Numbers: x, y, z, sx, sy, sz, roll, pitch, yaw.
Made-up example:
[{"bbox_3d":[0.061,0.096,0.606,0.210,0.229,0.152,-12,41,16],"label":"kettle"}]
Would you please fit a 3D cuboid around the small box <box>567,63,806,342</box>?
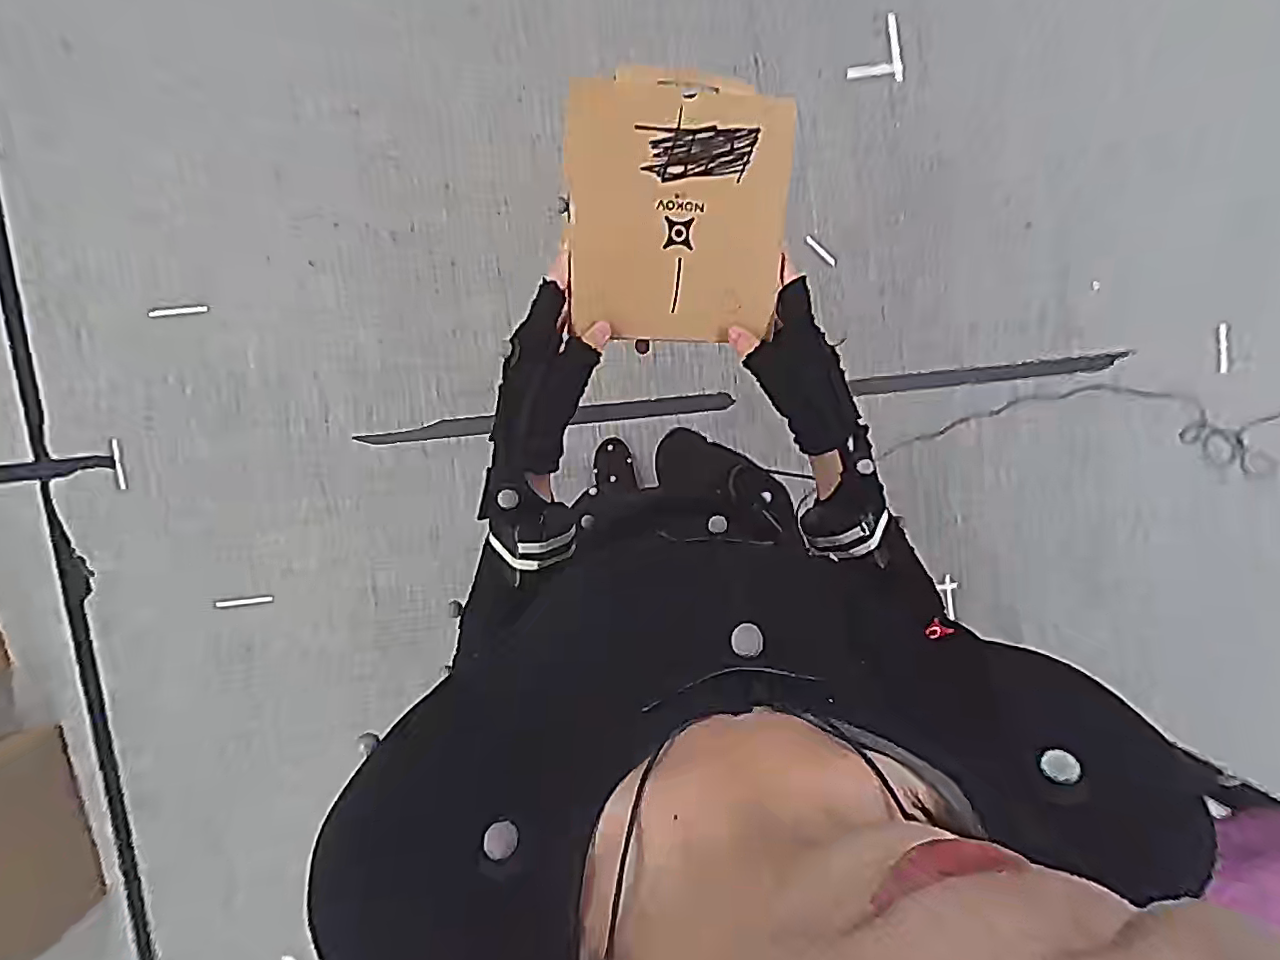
[{"bbox_3d":[0.023,-0.217,0.473,0.168,0.176,0.179,1,107,-9],"label":"small box"}]
